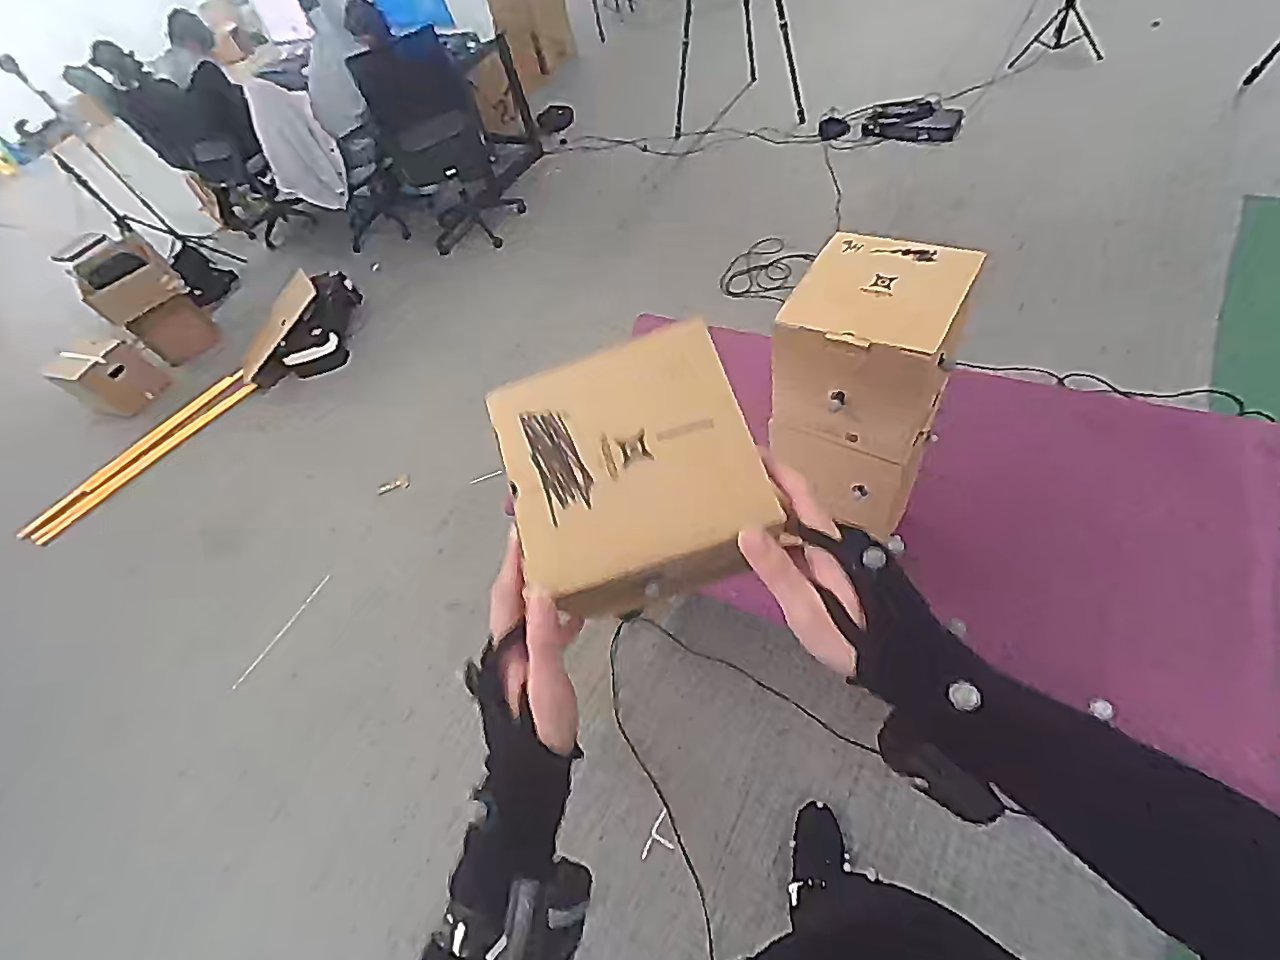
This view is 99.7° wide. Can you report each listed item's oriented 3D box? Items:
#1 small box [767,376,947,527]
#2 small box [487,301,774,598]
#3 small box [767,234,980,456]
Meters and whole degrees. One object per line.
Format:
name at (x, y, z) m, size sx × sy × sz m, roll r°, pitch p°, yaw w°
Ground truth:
small box at (0.299, -0.057, 0.766) m, size 0.179 × 0.176 × 0.168 m, roll 23°, pitch 64°, yaw 29°
small box at (0.000, -0.008, 0.449) m, size 0.179 × 0.176 × 0.168 m, roll -18°, pitch 70°, yaw 4°
small box at (0.267, -0.156, 0.641) m, size 0.168 × 0.176 × 0.179 m, roll 24°, pitch 64°, yaw 28°
